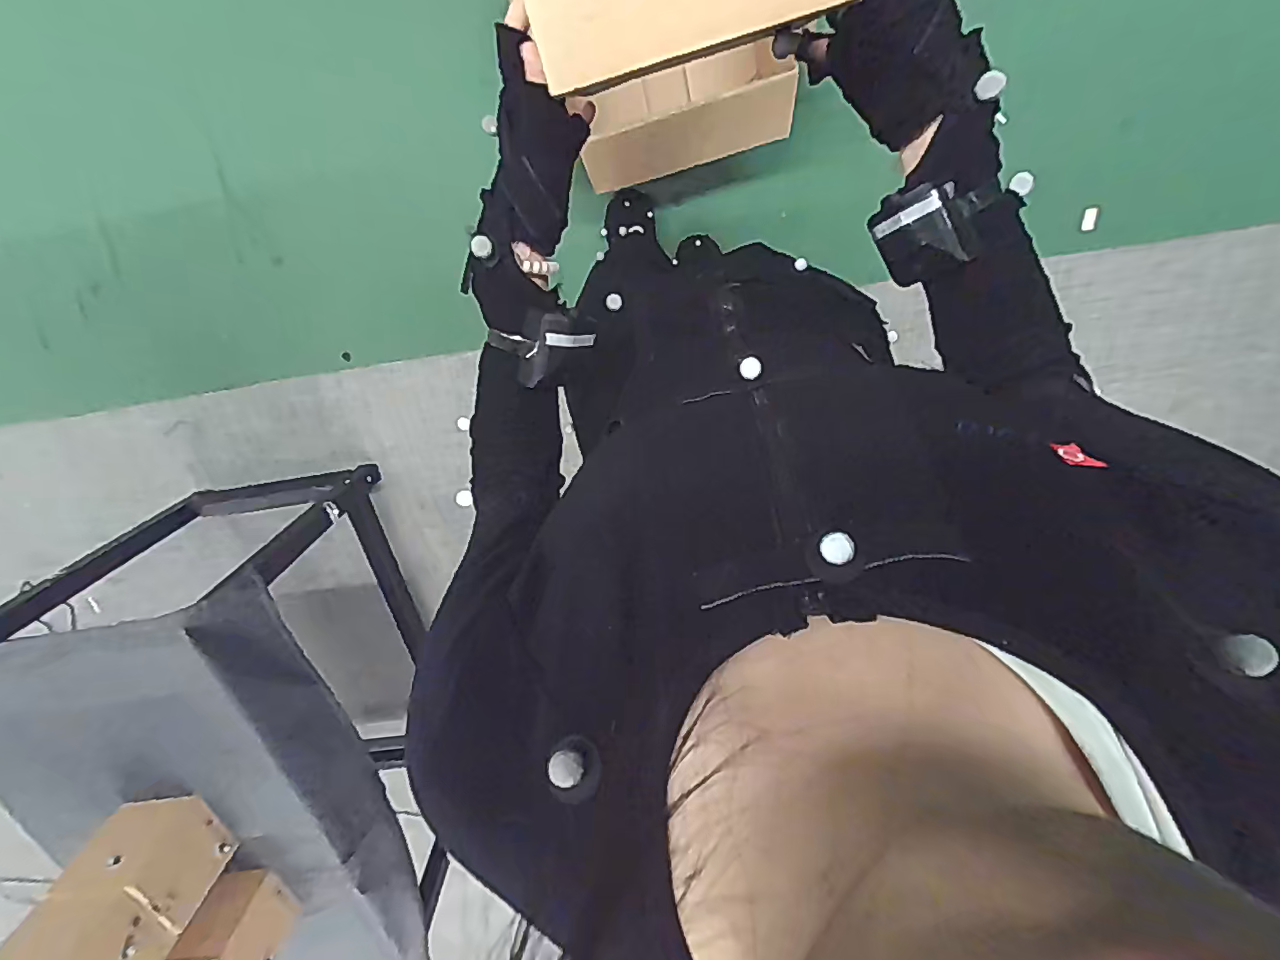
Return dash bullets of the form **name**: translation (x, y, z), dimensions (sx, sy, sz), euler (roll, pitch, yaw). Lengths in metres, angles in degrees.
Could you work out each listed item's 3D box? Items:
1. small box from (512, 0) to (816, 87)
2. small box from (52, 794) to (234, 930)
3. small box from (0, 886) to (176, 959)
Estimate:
- **small box**: translation (0.009, -0.344, 0.308), dimensions (0.179, 0.176, 0.168), euler (-11, 125, 10)
- **small box**: translation (-0.947, 0.744, 1.057), dimensions (0.179, 0.176, 0.168), euler (-9, 115, 6)
- **small box**: translation (-0.962, 0.828, 0.916), dimensions (0.179, 0.176, 0.168), euler (-11, 115, 6)
